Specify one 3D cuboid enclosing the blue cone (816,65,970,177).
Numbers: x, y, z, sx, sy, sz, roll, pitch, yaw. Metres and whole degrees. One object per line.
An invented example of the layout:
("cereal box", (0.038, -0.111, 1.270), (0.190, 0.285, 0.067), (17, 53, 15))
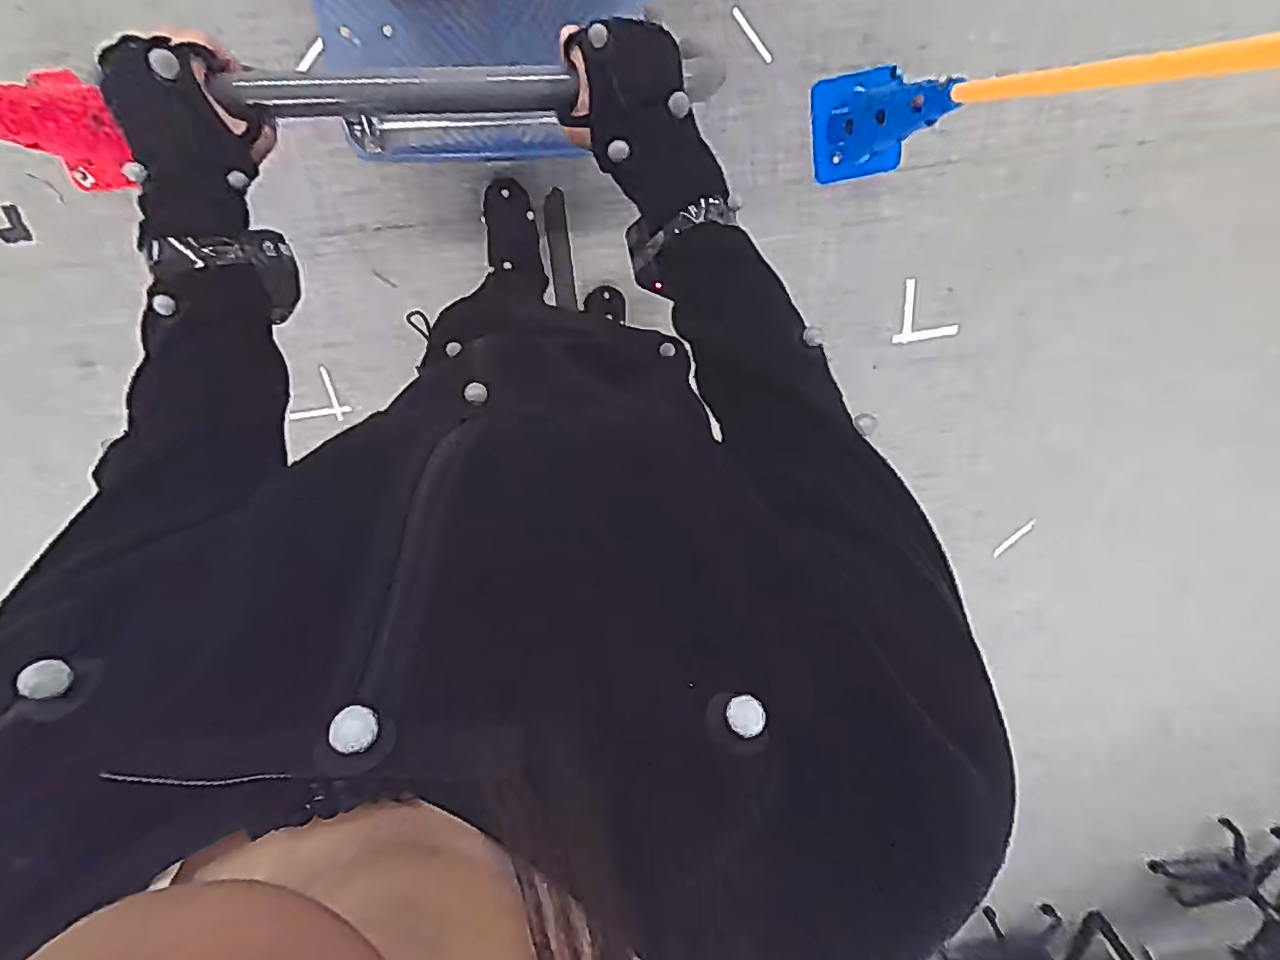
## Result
("blue cone", (0.496, -0.710, 1.035), (0.193, 0.380, 0.192), (-11, 115, -1))
